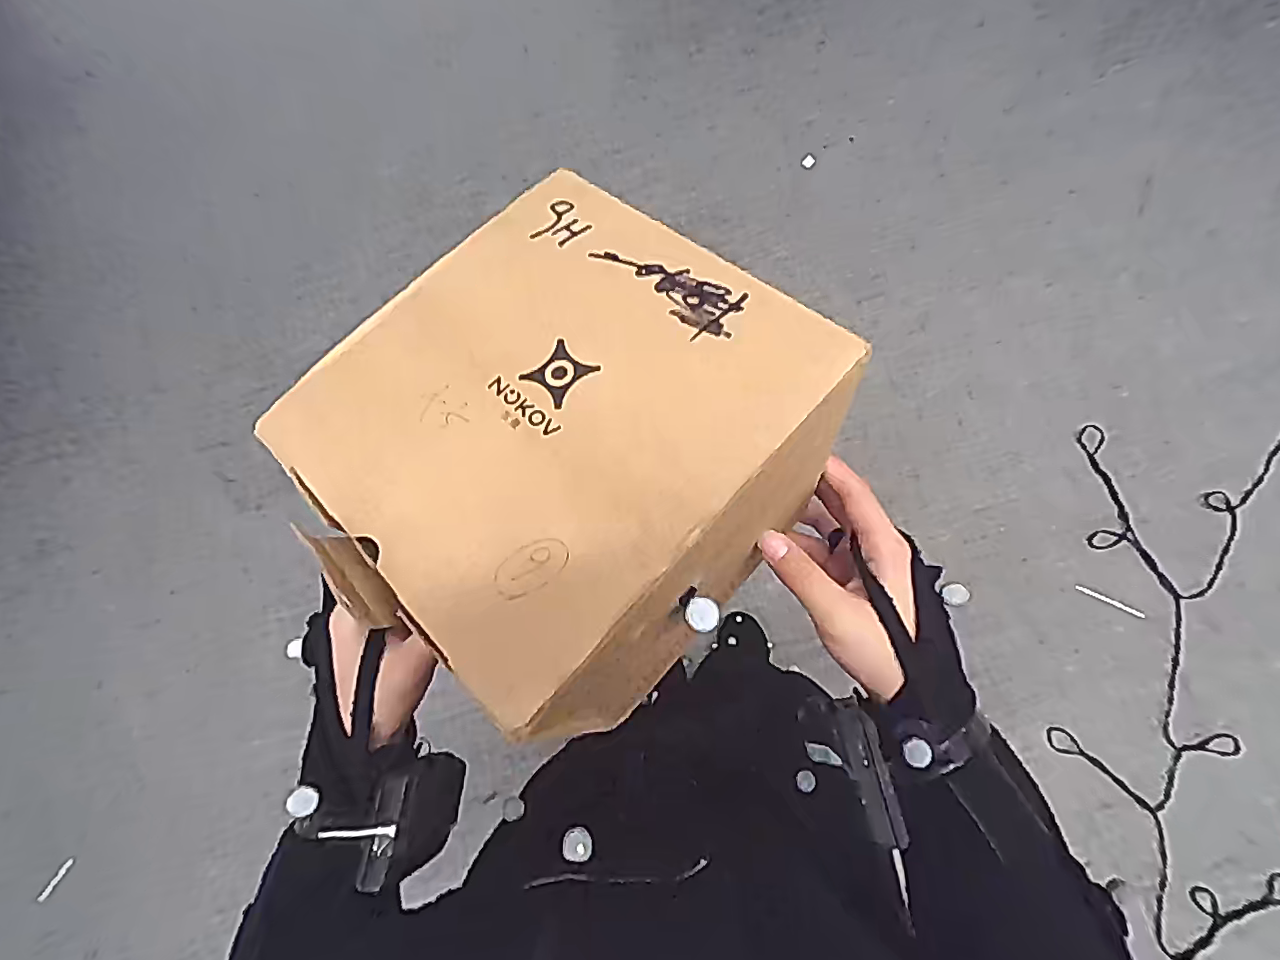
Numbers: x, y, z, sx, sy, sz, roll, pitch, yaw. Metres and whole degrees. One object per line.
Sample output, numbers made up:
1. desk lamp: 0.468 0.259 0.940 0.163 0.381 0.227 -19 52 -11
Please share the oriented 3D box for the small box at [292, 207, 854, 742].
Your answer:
1. small box: -0.021 0.008 0.286 0.168 0.176 0.179 39 78 21
